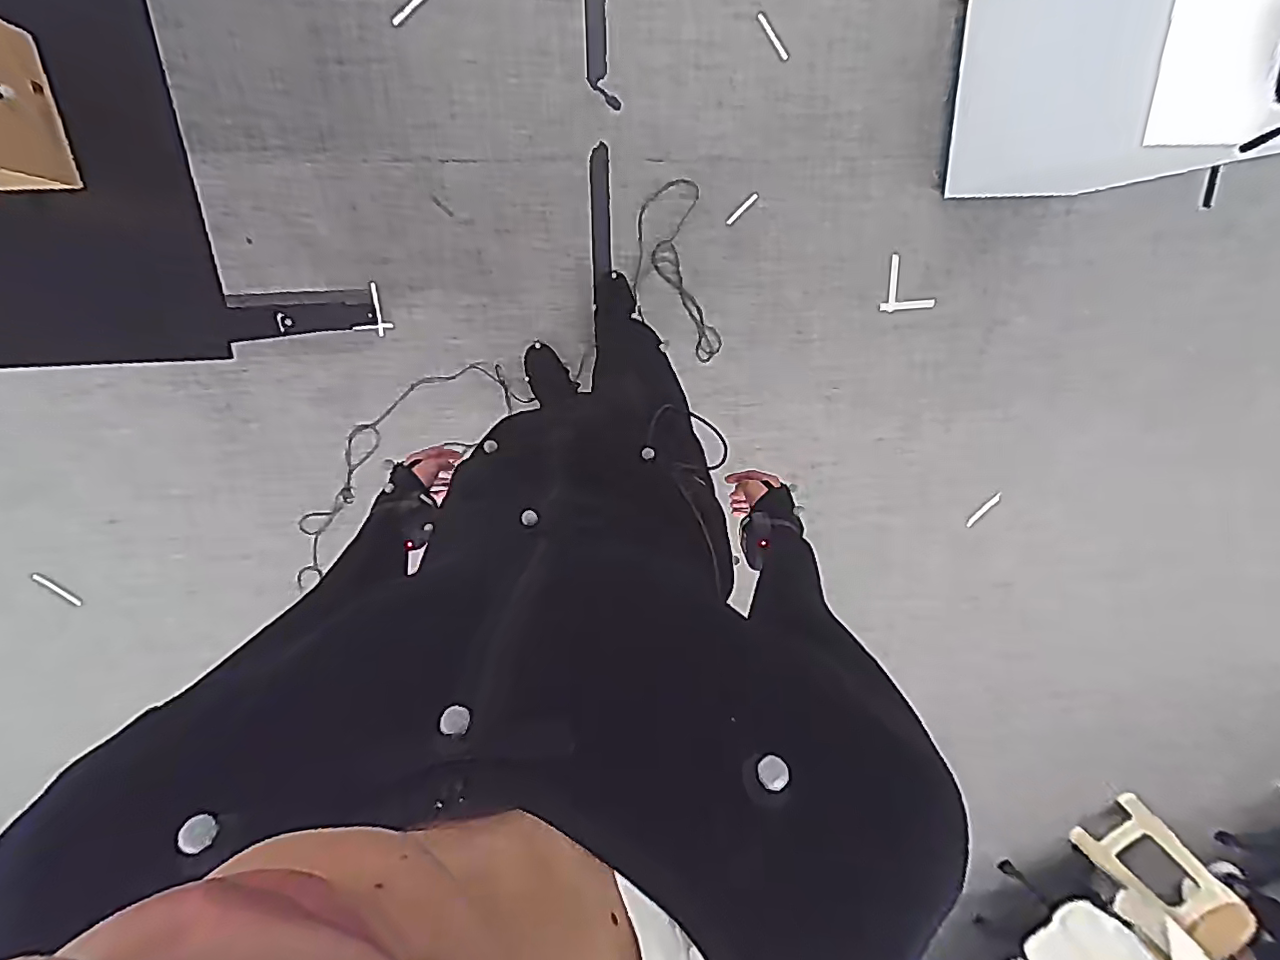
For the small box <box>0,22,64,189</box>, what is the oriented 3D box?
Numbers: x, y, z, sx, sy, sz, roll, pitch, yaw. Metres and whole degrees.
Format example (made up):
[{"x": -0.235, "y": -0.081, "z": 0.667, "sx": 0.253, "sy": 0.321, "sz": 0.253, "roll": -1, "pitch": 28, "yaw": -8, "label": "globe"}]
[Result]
[{"x": -0.781, "y": -0.414, "z": 0.569, "sx": 0.179, "sy": 0.176, "sz": 0.168, "roll": -6, "pitch": 109, "yaw": -6, "label": "small box"}]
